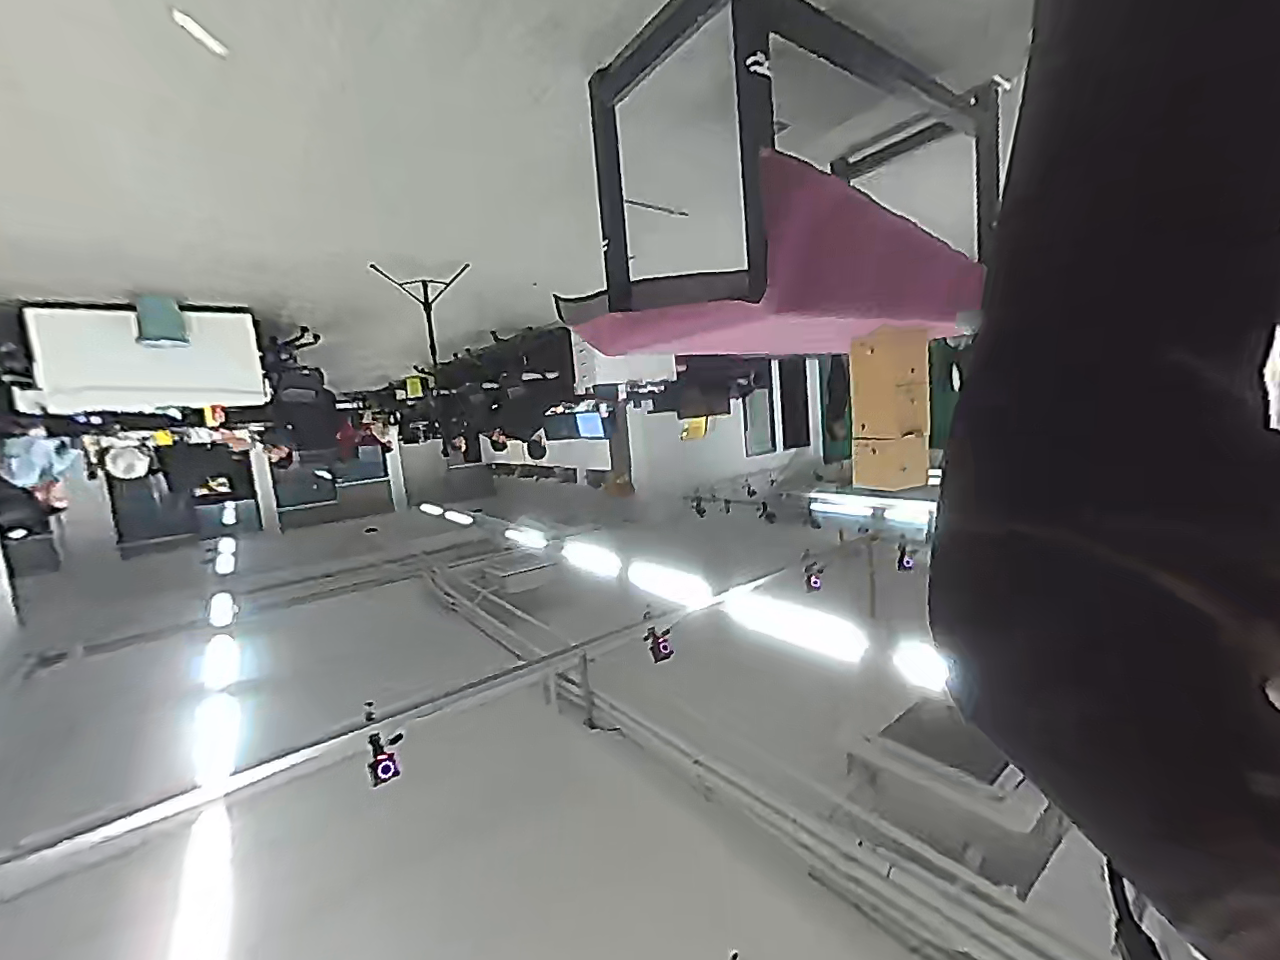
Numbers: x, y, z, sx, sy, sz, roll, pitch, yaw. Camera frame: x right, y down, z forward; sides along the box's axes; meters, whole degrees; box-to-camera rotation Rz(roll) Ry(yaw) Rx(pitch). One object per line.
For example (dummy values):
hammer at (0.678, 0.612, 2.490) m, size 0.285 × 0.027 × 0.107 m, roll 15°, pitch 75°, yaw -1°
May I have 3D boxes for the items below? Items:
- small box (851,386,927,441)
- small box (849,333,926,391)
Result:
small box at (0.822, -0.223, 1.789) m, size 0.168 × 0.176 × 0.179 m, roll -9°, pitch -172°, yaw -25°
small box at (0.804, -0.384, 1.759) m, size 0.179 × 0.176 × 0.168 m, roll -8°, pitch -173°, yaw -26°
